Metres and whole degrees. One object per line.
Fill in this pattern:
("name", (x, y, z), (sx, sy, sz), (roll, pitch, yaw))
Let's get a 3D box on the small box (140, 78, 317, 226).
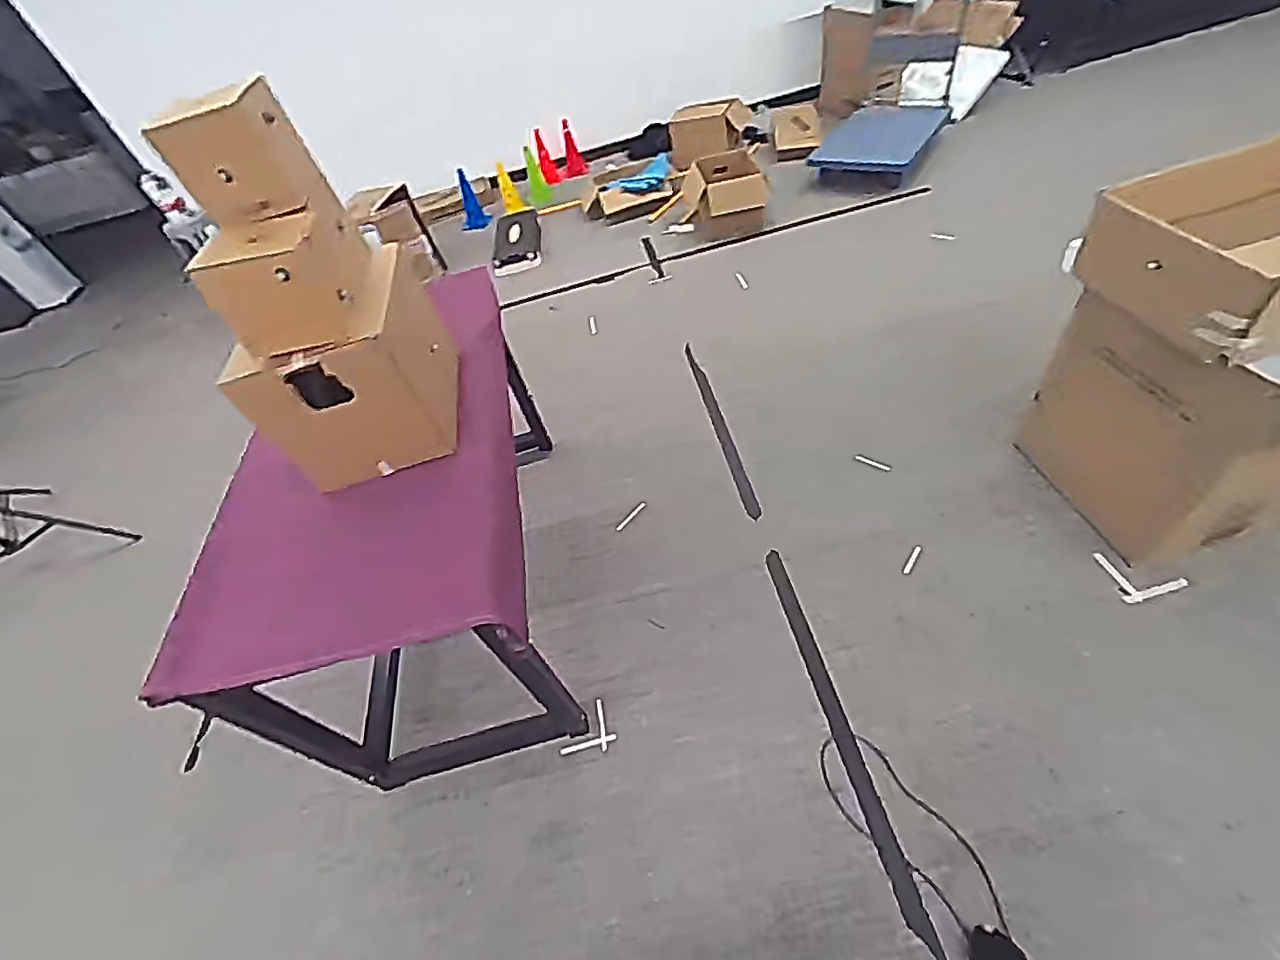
("small box", (-0.717, -0.579, 0.969), (0.168, 0.176, 0.179), (-16, 49, 1))
